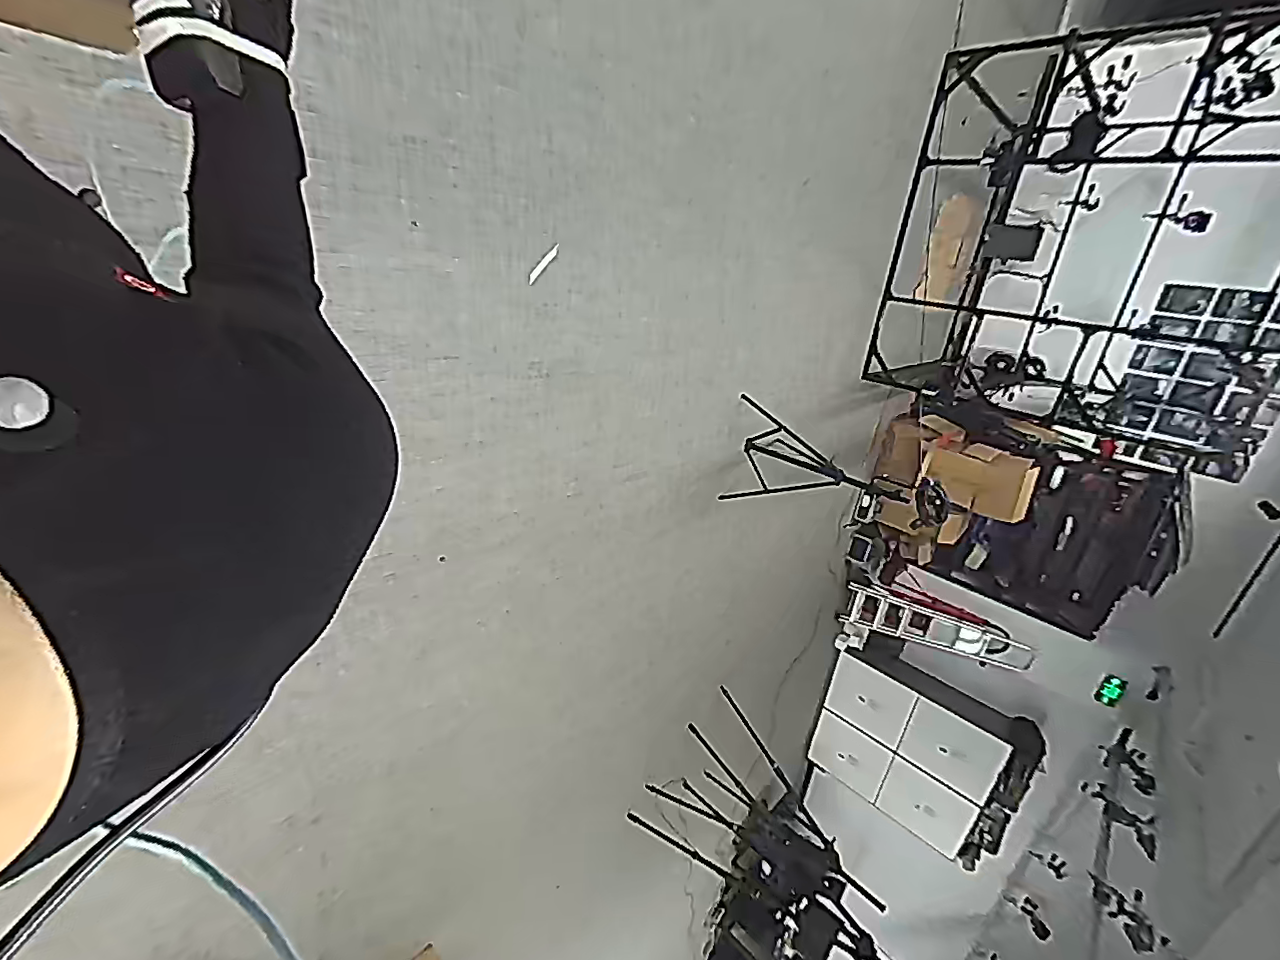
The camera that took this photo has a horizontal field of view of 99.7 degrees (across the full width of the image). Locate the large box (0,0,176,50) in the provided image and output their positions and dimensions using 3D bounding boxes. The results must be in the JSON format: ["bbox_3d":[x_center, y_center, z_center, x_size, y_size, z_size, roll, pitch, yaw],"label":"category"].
[{"bbox_3d":[-0.542,-0.492,0.276,0.408,0.320,0.320,-17,123,-46],"label":"large box"}]
